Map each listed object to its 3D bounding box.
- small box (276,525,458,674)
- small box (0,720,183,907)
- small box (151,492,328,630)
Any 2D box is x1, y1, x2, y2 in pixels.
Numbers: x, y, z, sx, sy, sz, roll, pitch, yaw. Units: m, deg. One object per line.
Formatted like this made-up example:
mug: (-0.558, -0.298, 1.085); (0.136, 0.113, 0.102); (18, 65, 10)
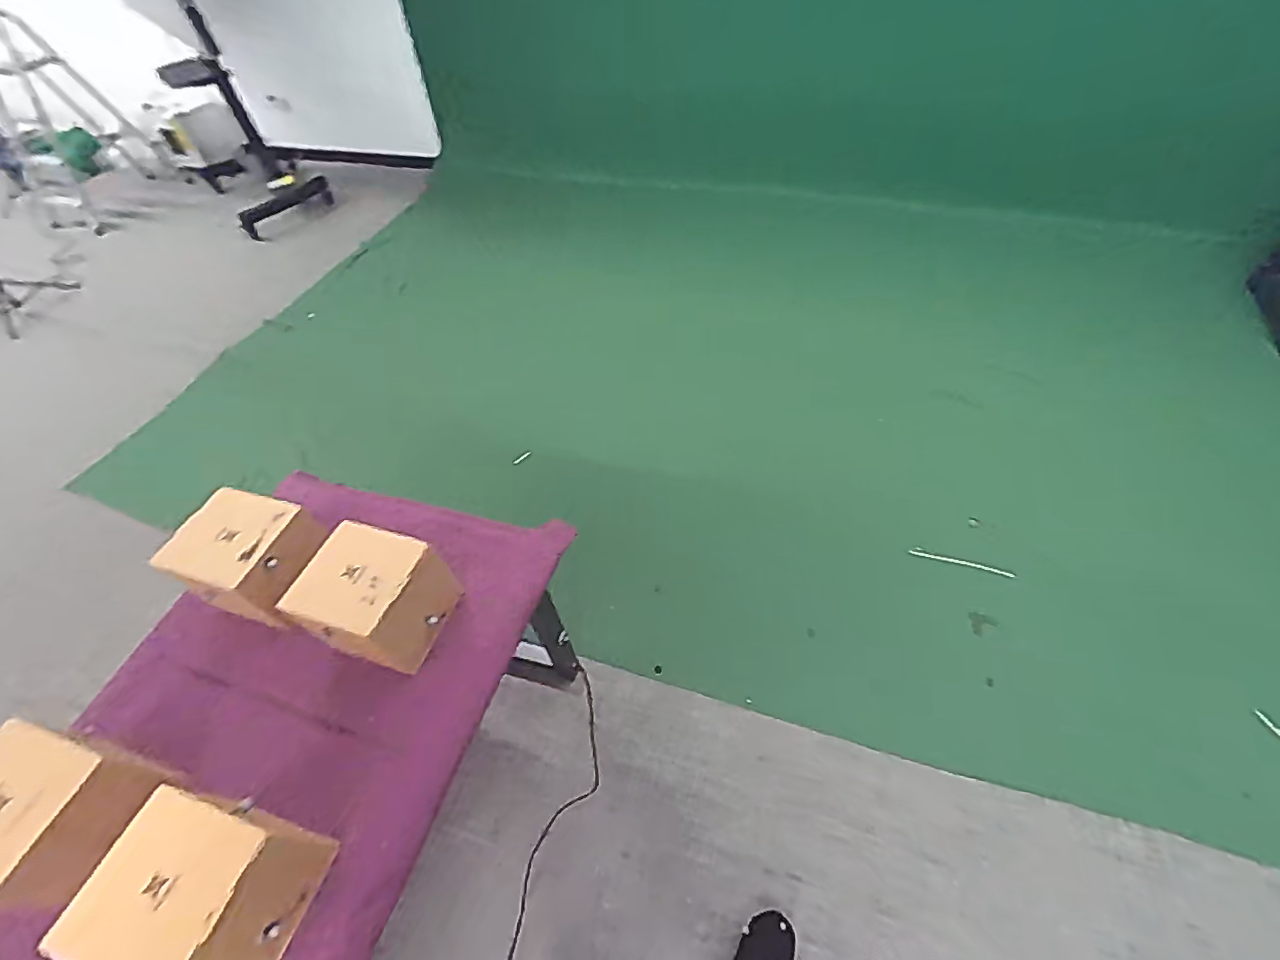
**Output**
small box: (-0.442, 0.203, 0.904); (0.179, 0.176, 0.168); (12, 54, 15)
small box: (-0.799, 0.455, 0.734); (0.179, 0.176, 0.168); (13, 54, 13)
small box: (-0.690, 0.148, 0.970); (0.179, 0.176, 0.168); (12, 54, 13)
